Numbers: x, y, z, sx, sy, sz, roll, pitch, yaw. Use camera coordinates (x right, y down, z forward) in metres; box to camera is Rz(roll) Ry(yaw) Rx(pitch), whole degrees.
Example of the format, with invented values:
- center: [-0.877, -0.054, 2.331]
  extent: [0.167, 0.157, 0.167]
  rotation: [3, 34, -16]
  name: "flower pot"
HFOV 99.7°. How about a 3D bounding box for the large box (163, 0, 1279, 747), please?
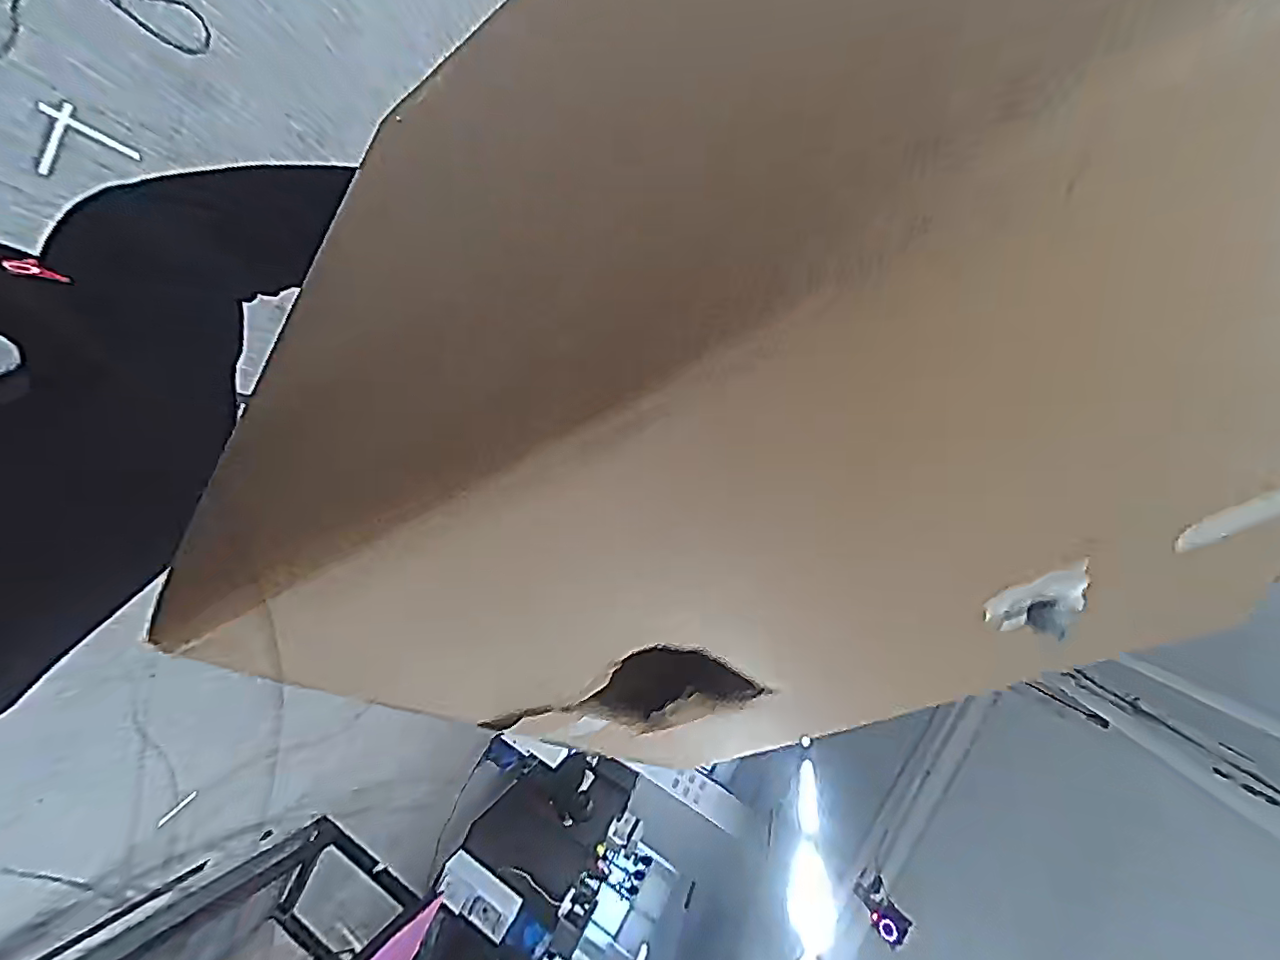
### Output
- center: [0.046, -0.105, 0.330]
  extent: [0.320, 0.320, 0.408]
  rotation: [45, 28, -45]
  name: "large box"
